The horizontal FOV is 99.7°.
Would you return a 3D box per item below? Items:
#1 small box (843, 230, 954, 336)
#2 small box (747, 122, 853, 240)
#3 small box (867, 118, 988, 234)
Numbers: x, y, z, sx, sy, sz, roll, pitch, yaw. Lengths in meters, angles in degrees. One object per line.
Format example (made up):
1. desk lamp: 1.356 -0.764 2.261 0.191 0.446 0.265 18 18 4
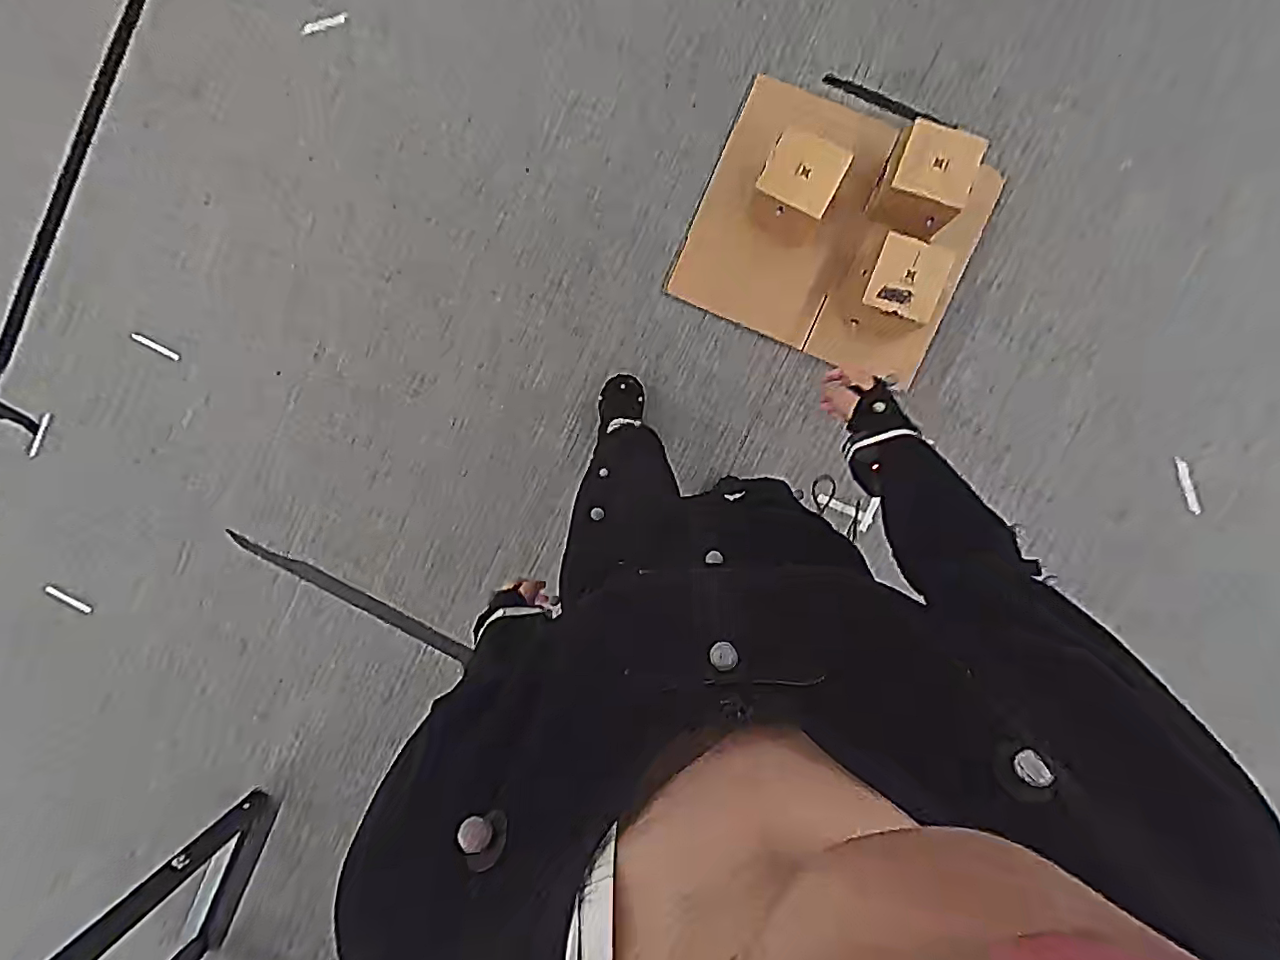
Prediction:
1. small box: 0.621 -0.472 1.327 0.168 0.176 0.179 21 94 2
2. small box: 0.382 -0.719 1.326 0.179 0.176 0.168 28 95 2
3. small box: 0.686 -0.724 1.311 0.179 0.176 0.168 19 93 3
